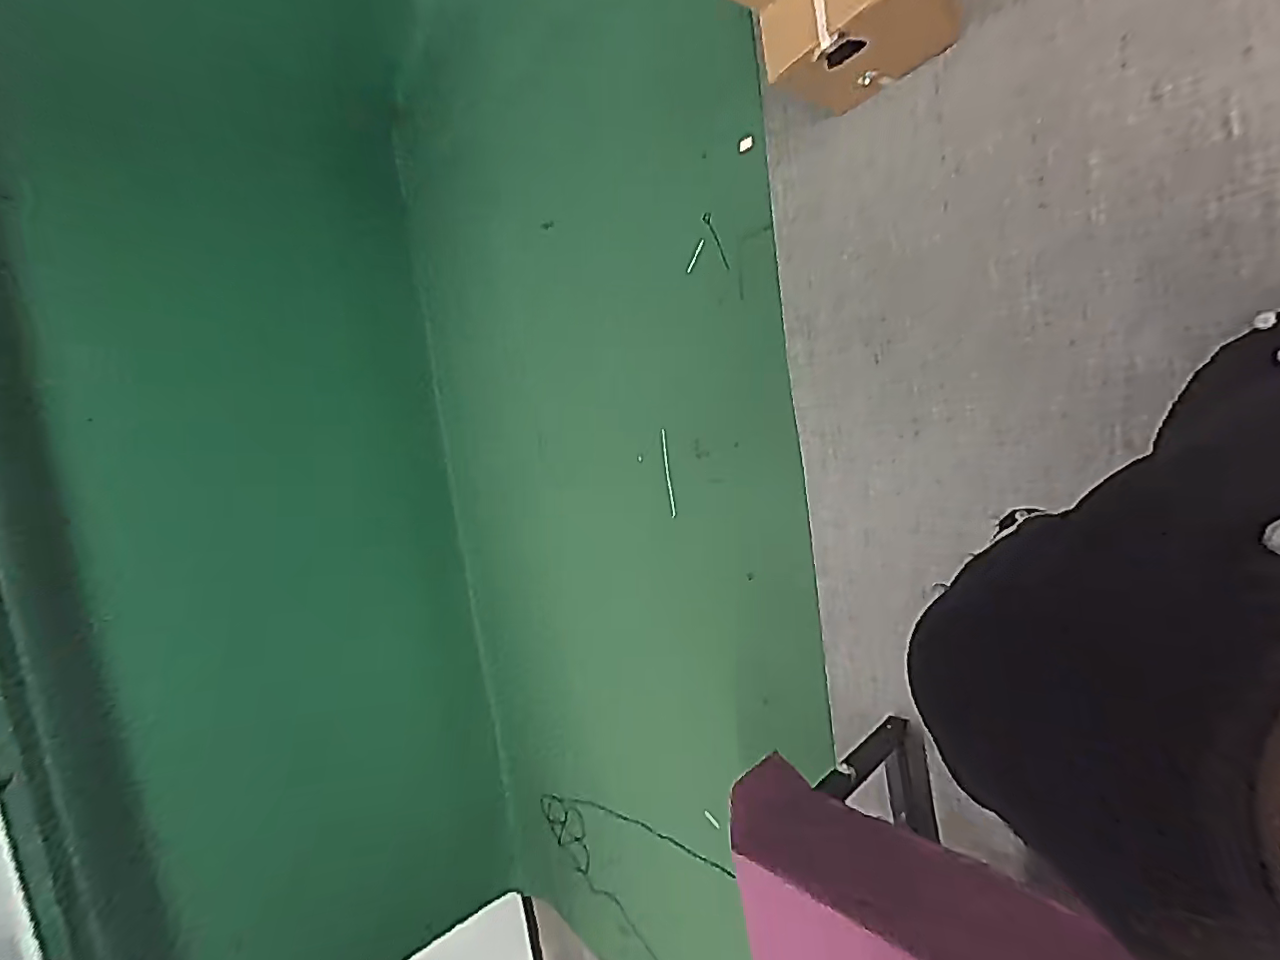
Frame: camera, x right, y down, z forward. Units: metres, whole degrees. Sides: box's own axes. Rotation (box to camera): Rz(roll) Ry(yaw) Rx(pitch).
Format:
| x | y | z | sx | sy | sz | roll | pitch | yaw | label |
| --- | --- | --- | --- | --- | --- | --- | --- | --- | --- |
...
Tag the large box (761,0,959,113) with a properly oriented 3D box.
| x | y | z | sx | sy | sz | roll | pitch | yaw | label |
| --- | --- | --- | --- | --- | --- | --- | --- | --- | --- |
| 0.498 | -1.177 | 1.260 | 0.320 | 0.320 | 0.408 | -4 | 96 | 52 | large box |
